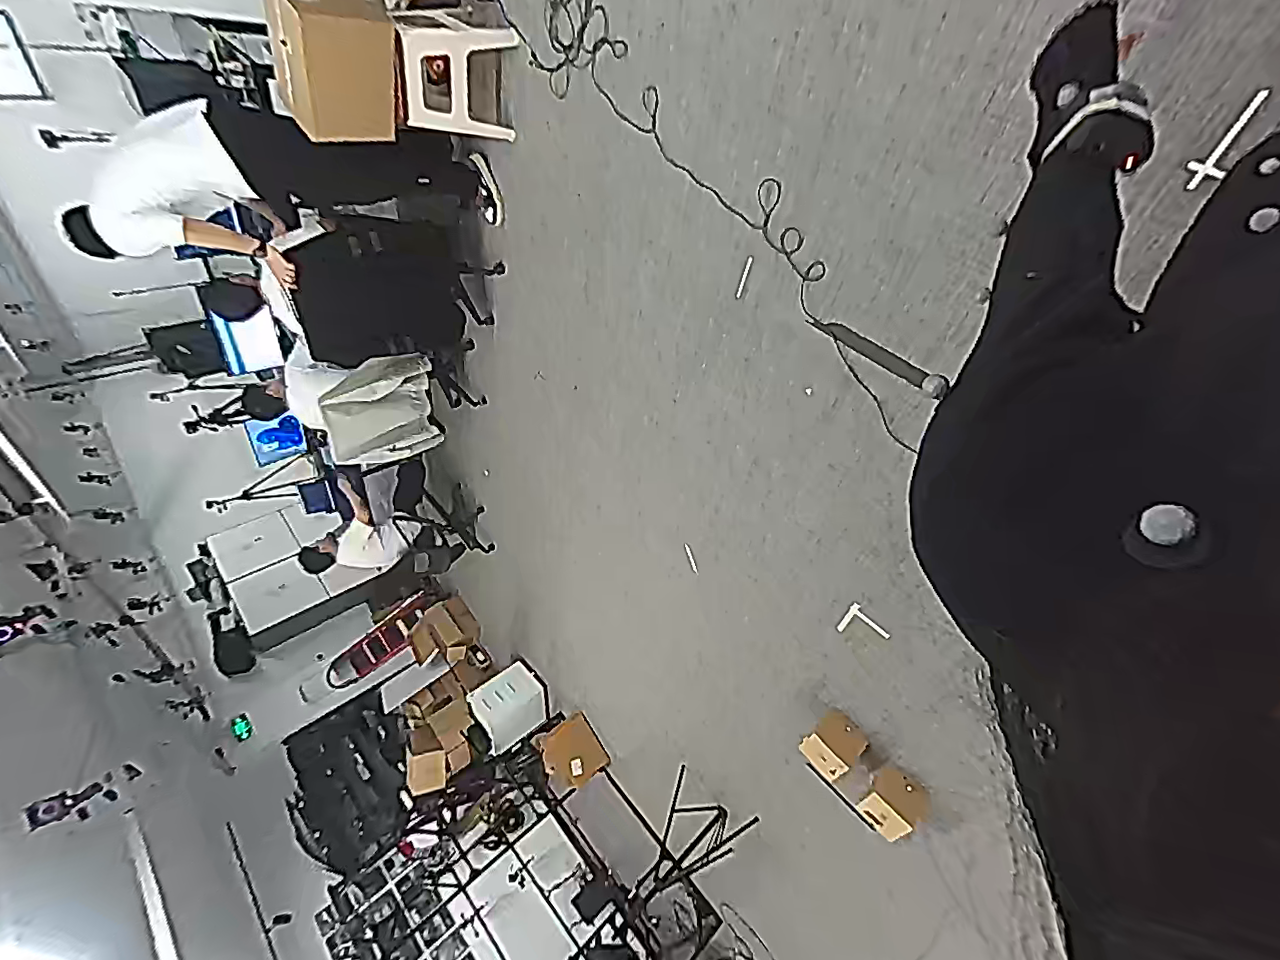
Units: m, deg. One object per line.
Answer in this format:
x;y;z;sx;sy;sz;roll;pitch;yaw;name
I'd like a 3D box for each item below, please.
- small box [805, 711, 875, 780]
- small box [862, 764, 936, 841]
0.818;1.076;2.210;0.179;0.176;0.168;44;141;25;small box
1.002;1.241;2.084;0.168;0.176;0.179;40;139;27;small box
